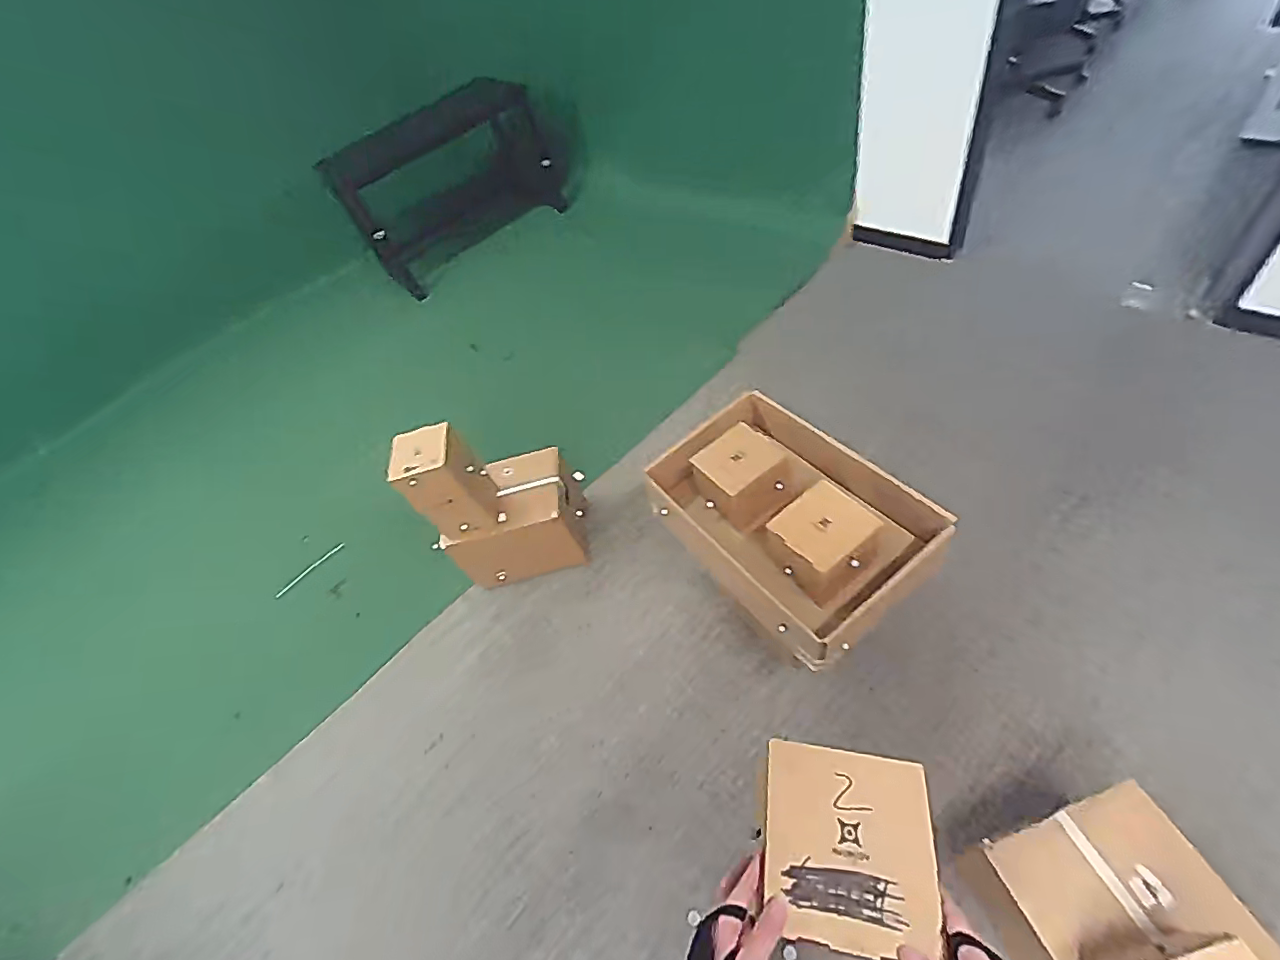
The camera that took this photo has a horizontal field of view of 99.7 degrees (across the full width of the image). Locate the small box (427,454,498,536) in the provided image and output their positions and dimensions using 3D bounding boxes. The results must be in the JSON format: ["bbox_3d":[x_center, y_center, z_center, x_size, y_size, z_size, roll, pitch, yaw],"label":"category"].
[{"bbox_3d":[-0.558,0.050,1.702,0.168,0.176,0.179,-15,52,6],"label":"small box"}]

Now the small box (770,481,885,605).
[{"bbox_3d":[0.411,0.142,1.203,0.179,0.176,0.168,-37,52,-11],"label":"small box"}]

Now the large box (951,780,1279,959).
[{"bbox_3d":[0.861,0.841,0.983,0.320,0.320,0.408,-23,49,-2],"label":"large box"}]

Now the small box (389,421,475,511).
[{"bbox_3d":[-0.594,-0.039,1.569,0.168,0.176,0.179,-15,51,5],"label":"small box"}]

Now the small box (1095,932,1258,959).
[{"bbox_3d":[0.780,0.759,0.751,0.179,0.176,0.168,-21,50,2],"label":"small box"}]
